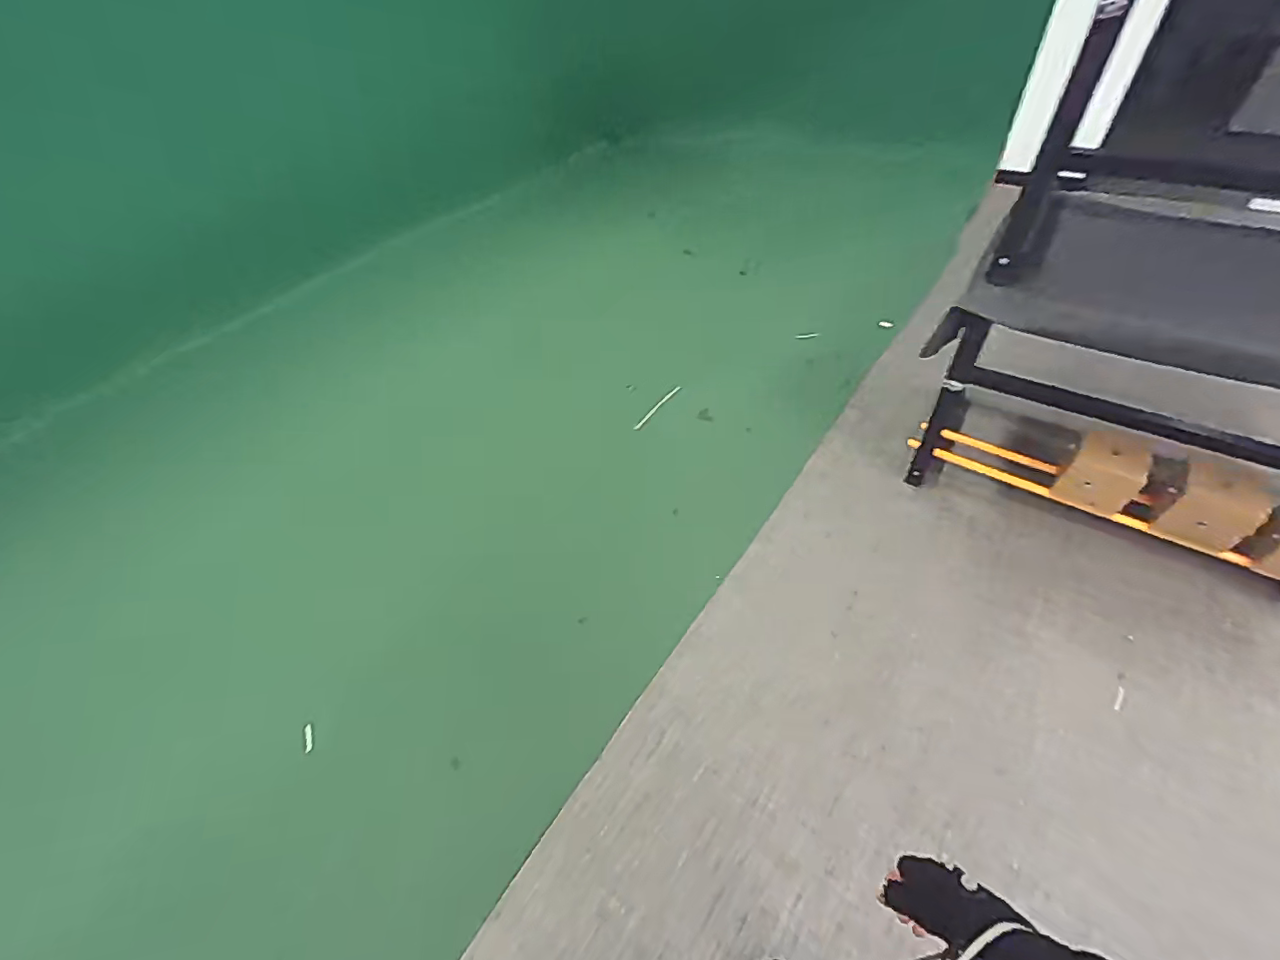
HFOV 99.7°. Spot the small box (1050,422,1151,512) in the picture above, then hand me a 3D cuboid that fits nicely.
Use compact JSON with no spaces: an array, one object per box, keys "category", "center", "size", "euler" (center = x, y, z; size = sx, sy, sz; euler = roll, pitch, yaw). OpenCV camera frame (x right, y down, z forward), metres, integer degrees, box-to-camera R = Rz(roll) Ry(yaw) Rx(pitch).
[{"category":"small box","center":[1.360,-0.036,1.607],"size":[0.168,0.176,0.179],"euler":[27,57,26]}]

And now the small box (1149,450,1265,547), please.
[{"category":"small box","center":[1.562,0.054,1.498],"size":[0.168,0.176,0.179],"euler":[25,56,26]}]
